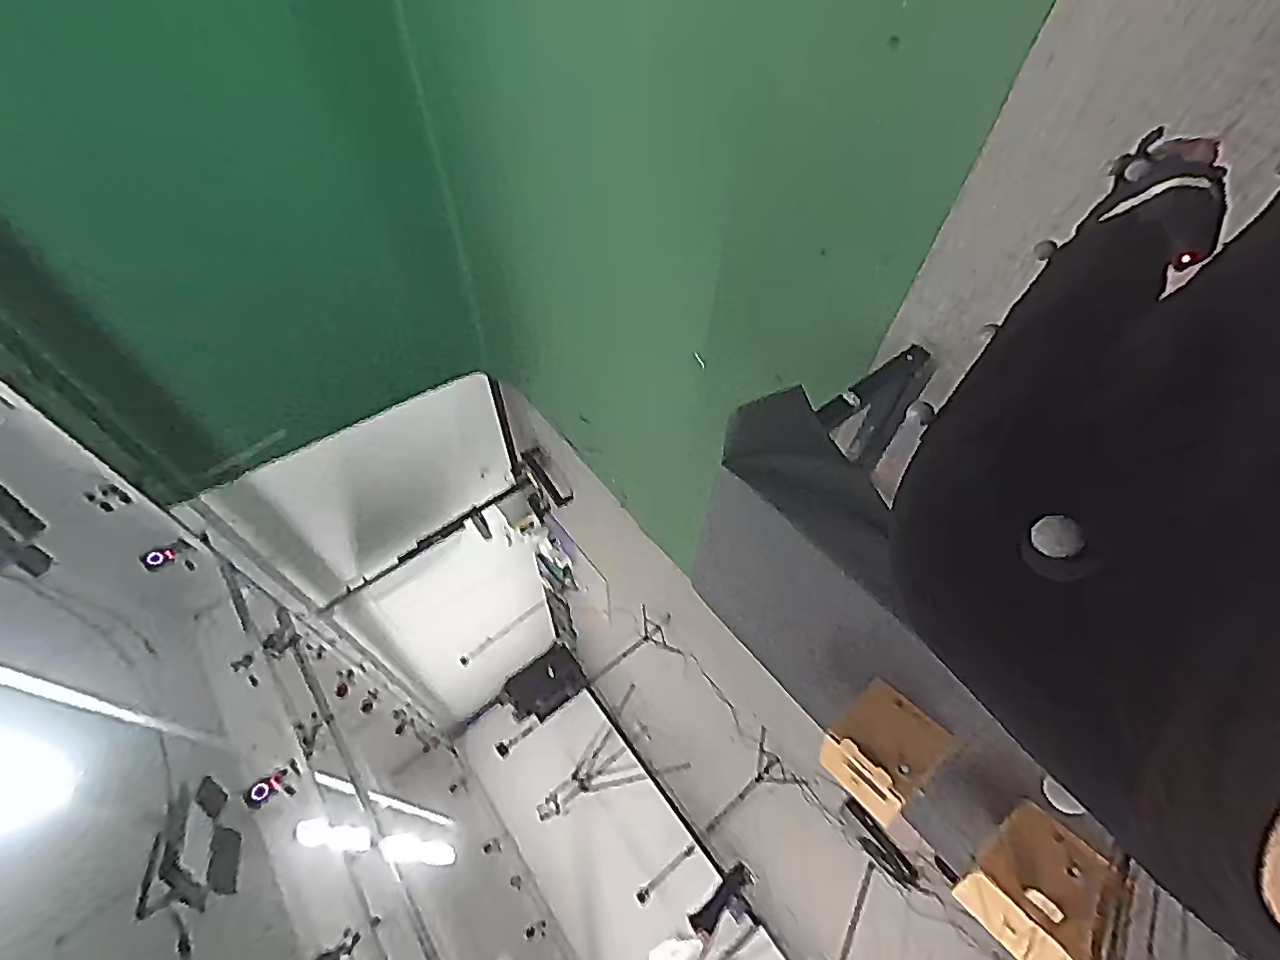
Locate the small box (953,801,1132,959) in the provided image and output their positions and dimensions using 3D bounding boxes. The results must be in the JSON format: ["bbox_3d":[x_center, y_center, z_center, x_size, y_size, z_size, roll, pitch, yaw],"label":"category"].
[{"bbox_3d":[0.675,0.693,0.916,0.168,0.176,0.179,38,149,40],"label":"small box"}]
